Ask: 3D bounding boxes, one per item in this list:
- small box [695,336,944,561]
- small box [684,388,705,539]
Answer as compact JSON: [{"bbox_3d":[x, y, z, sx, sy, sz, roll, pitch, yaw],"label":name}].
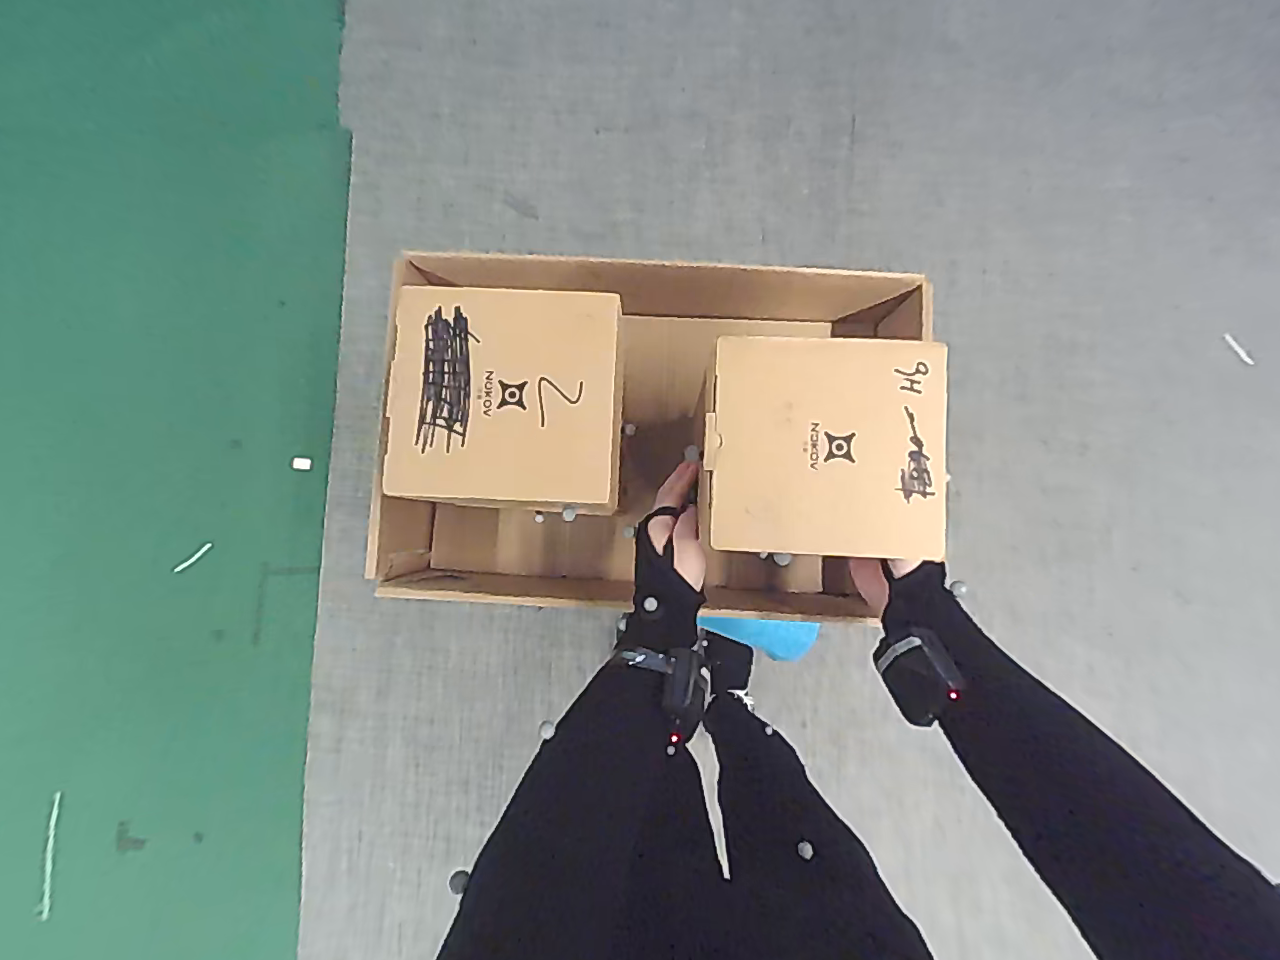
[{"bbox_3d":[0.142,-0.020,0.484,0.179,0.176,0.168,3,87,4],"label":"small box"},{"bbox_3d":[0.147,-0.005,0.648,0.179,0.176,0.168,5,86,2],"label":"small box"}]
